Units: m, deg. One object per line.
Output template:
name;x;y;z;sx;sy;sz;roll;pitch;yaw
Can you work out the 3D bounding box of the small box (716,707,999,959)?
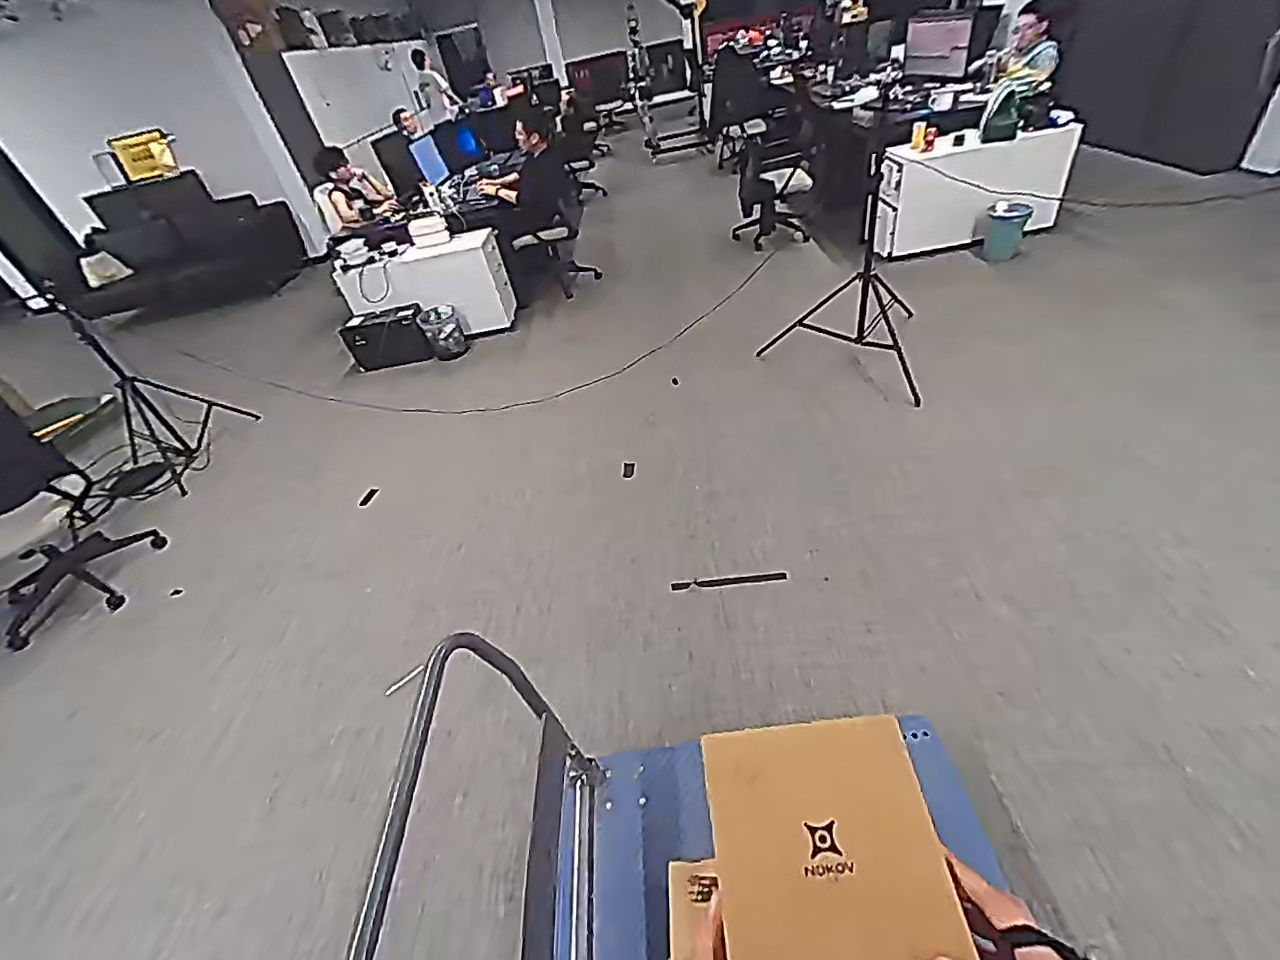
small box;0.158;0.316;0.461;0.168;0.176;0.179;-9;50;4
